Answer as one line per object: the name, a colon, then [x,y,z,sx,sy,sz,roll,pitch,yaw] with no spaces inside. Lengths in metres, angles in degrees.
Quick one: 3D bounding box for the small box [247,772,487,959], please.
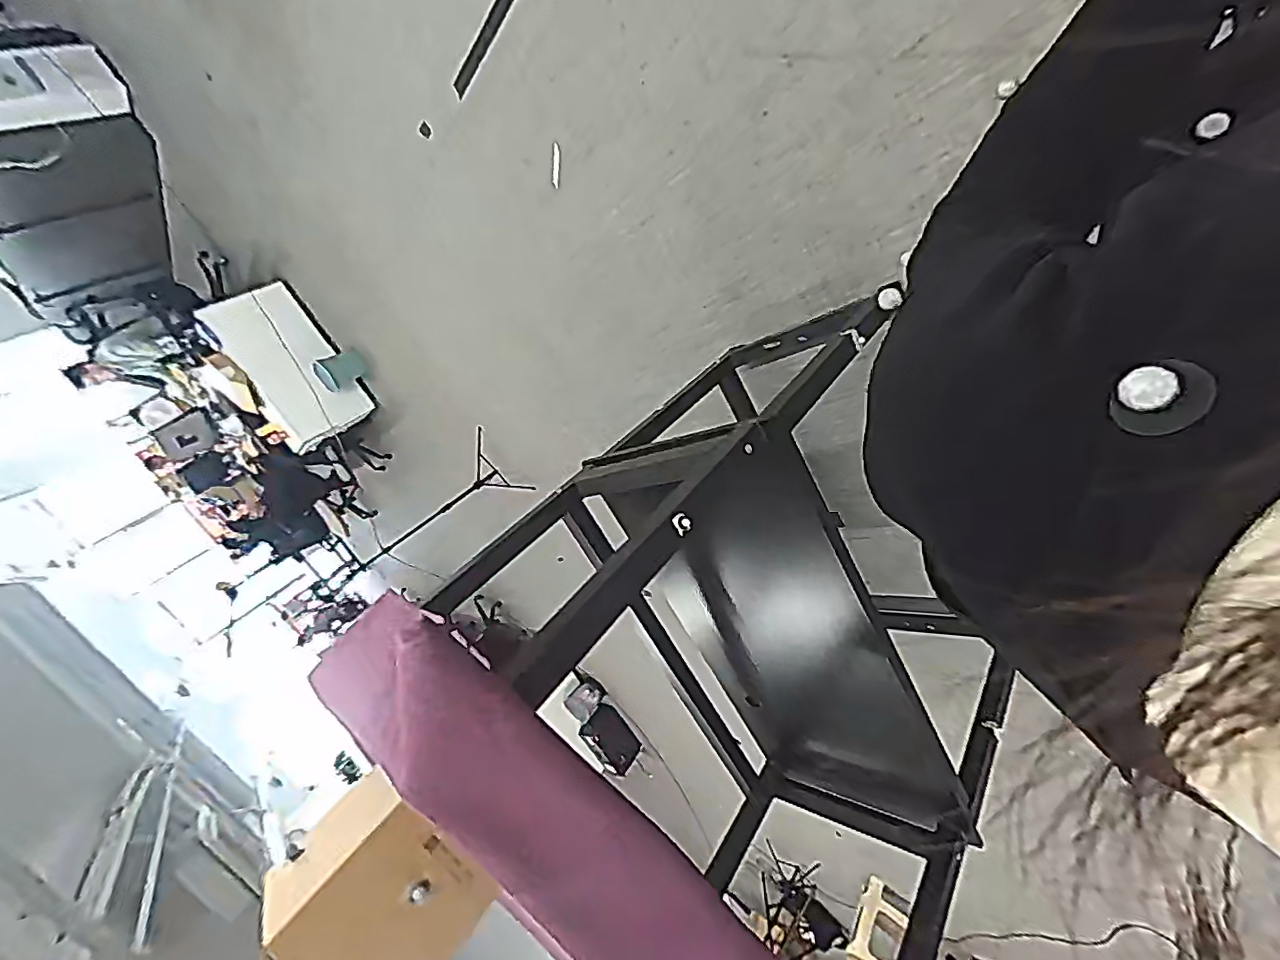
small box: [-0.303,0.469,0.614,0.168,0.176,0.179,54,145,-11]
